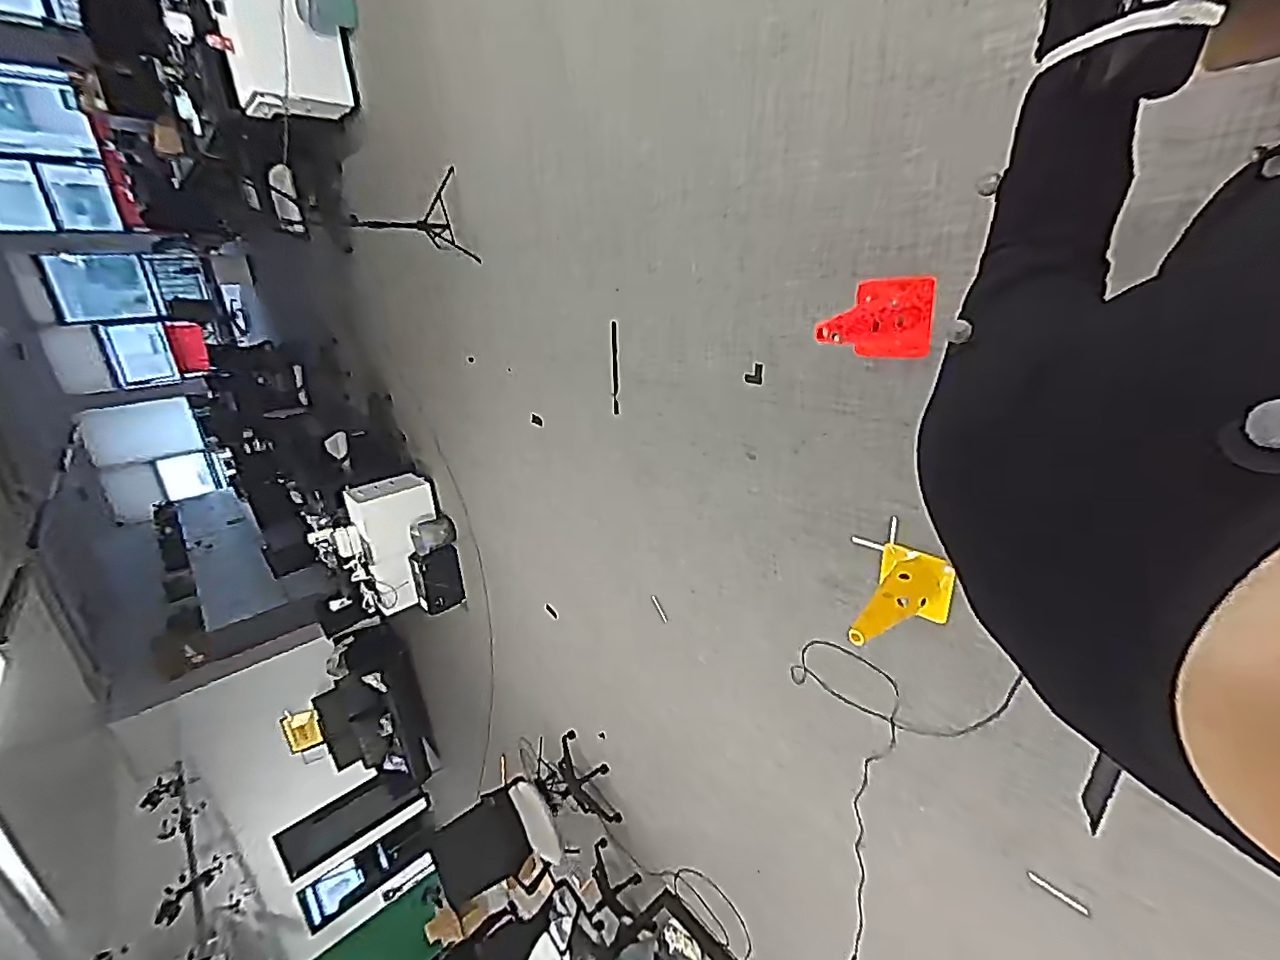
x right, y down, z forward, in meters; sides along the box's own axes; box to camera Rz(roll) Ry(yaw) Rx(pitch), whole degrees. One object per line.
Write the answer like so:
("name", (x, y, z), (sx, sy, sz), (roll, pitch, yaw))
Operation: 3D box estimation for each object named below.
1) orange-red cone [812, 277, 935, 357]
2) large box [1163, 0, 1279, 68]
("orange-red cone", (0.534, -0.375, 1.311), (0.198, 0.360, 0.199), (18, 121, 46))
("large box", (0.560, -0.461, 0.251), (0.408, 0.320, 0.320), (17, 122, 45))
